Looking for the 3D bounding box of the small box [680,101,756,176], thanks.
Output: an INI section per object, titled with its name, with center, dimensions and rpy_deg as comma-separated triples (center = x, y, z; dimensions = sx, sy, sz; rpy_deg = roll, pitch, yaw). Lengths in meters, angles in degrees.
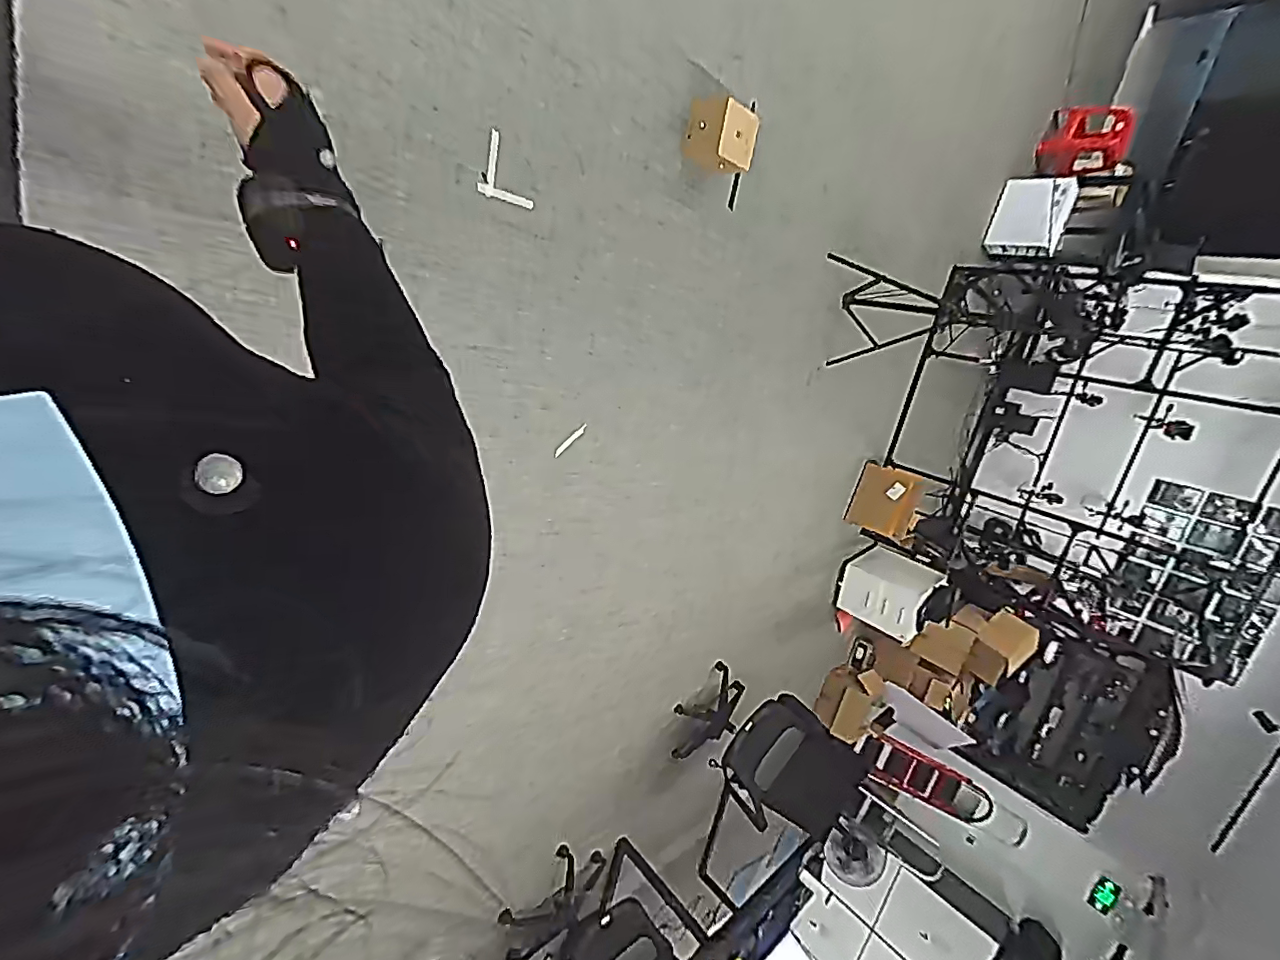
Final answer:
[small box]
center = 0.260, -1.147, 1.835
dimensions = 0.179, 0.176, 0.168
rpy_deg = -4, 112, -45
